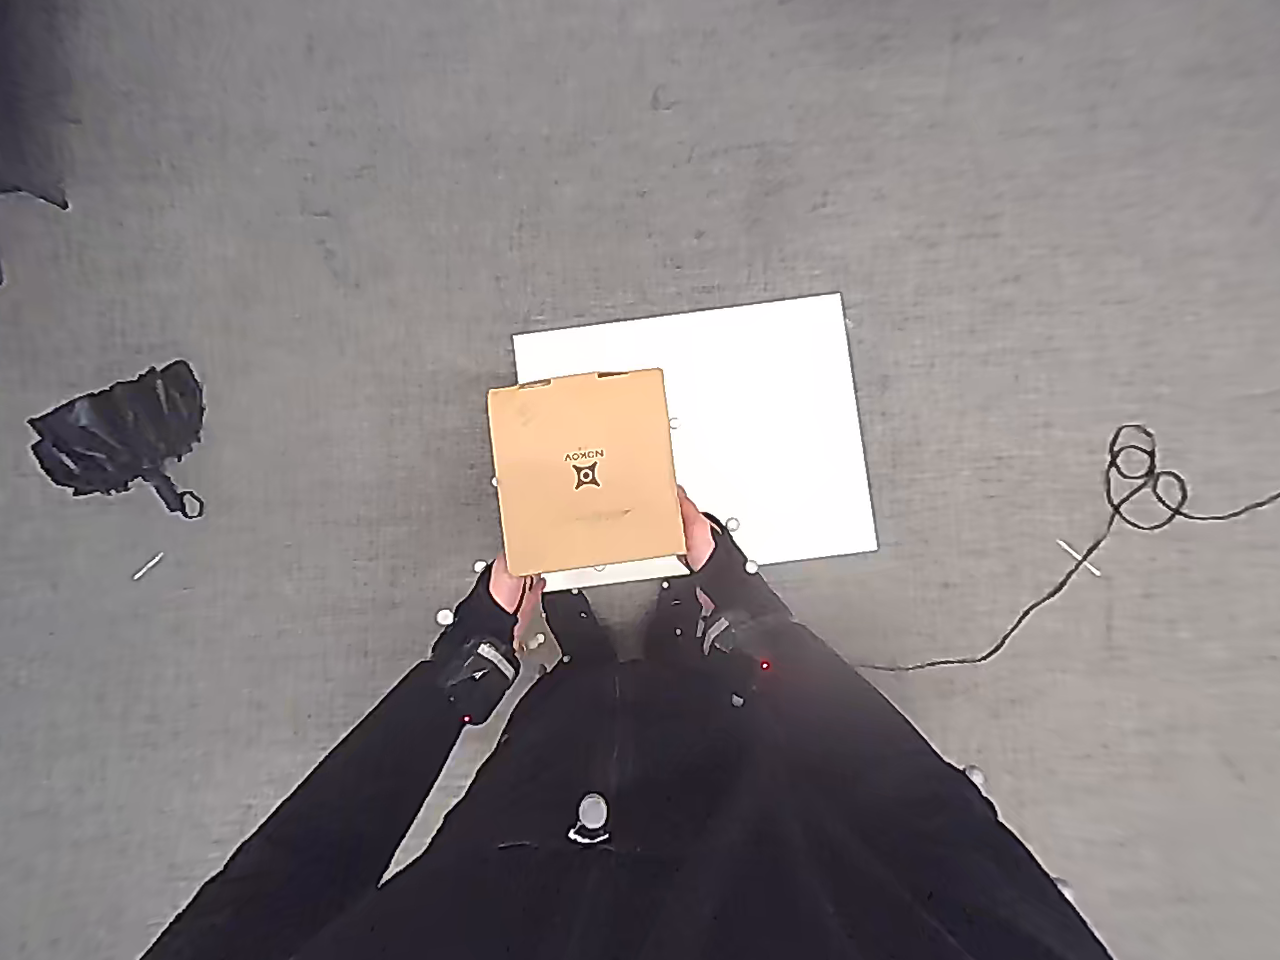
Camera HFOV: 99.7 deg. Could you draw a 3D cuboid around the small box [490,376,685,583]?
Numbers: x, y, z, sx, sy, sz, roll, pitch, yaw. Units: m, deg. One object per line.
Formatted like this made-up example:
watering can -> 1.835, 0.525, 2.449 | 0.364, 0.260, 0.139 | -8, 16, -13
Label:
small box -> -0.048, 0.003, 0.575 | 0.168, 0.176, 0.179 | -8, 88, 2
